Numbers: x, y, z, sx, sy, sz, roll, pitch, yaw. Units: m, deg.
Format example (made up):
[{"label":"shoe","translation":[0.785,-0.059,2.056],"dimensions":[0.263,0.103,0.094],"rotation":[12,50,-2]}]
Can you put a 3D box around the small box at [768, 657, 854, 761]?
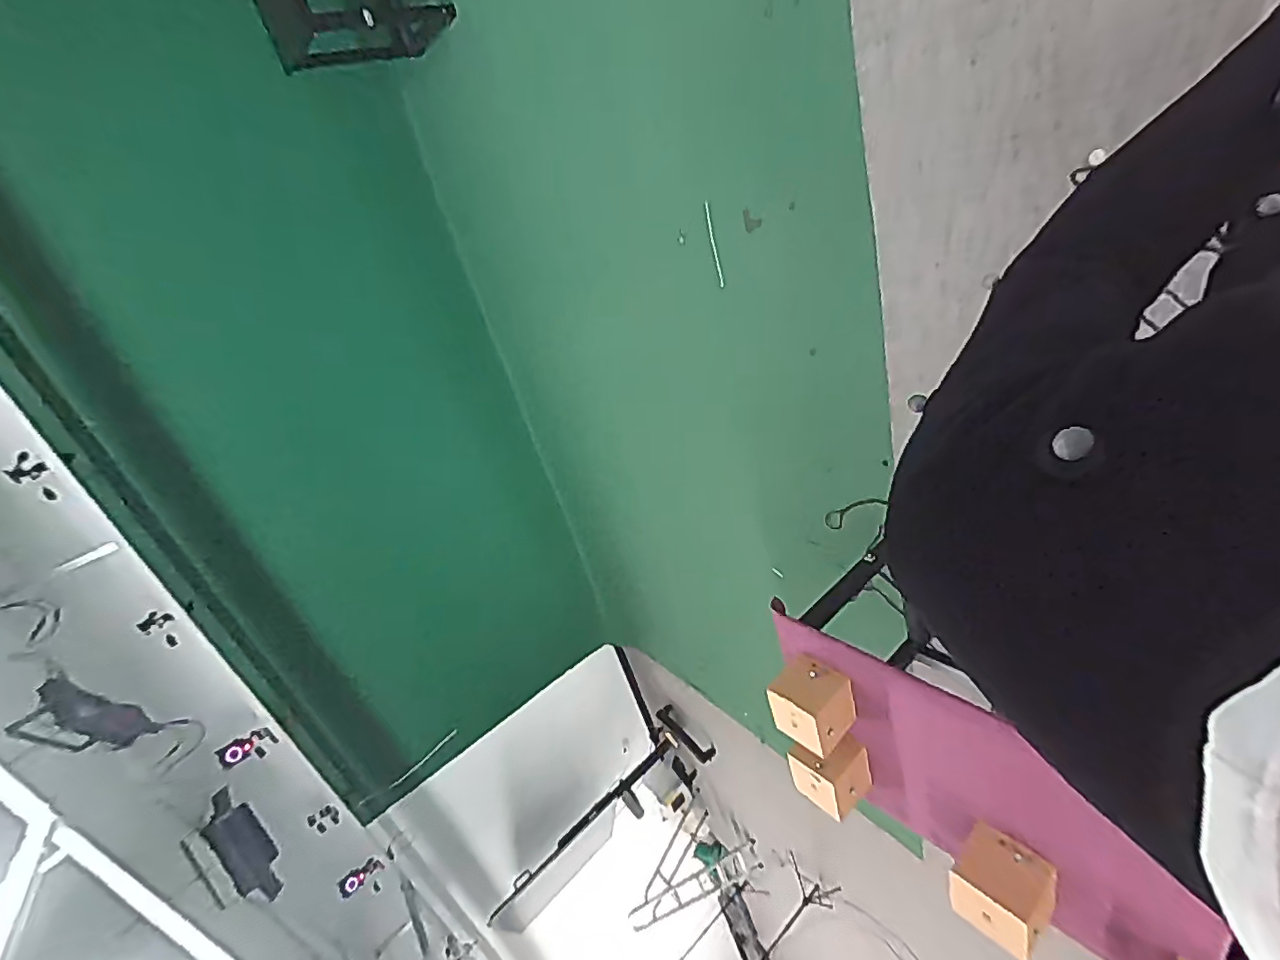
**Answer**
[{"label":"small box","translation":[0.496,0.650,1.554],"dimensions":[0.168,0.176,0.179],"rotation":[17,132,50]}]

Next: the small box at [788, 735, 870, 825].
[{"label":"small box","translation":[0.584,0.892,1.657],"dimensions":[0.168,0.176,0.179],"rotation":[15,130,52]}]

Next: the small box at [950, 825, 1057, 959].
[{"label":"small box","translation":[0.868,0.986,1.291],"dimensions":[0.168,0.176,0.179],"rotation":[17,130,51]}]
